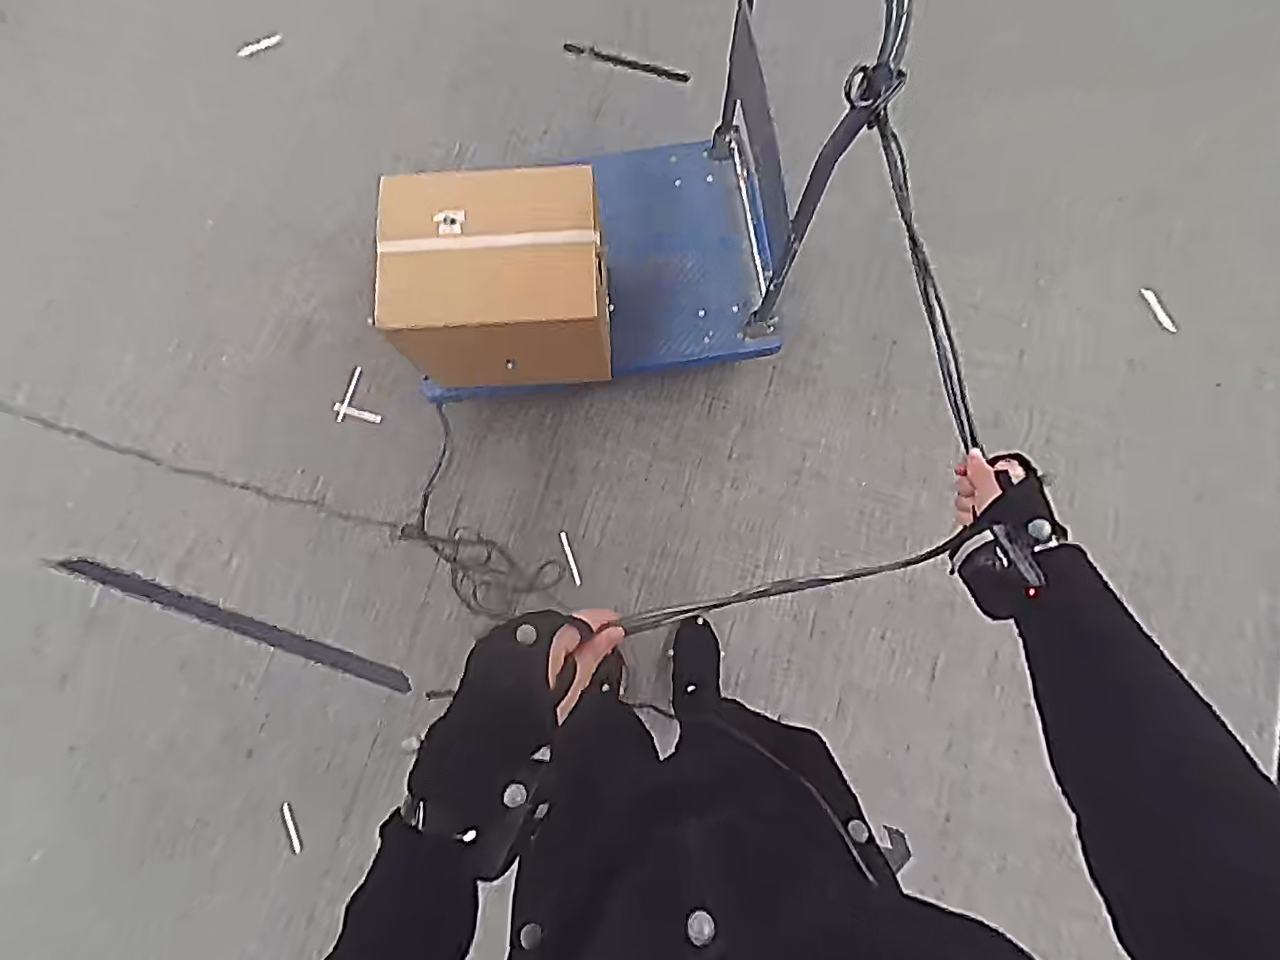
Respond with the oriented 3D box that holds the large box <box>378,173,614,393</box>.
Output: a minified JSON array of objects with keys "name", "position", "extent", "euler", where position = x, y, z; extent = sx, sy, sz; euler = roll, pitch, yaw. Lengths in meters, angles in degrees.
[{"name":"large box","position":[-0.274,-0.386,1.135],"extent":[0.408,0.320,0.320],"euler":[-3,79,2]}]
